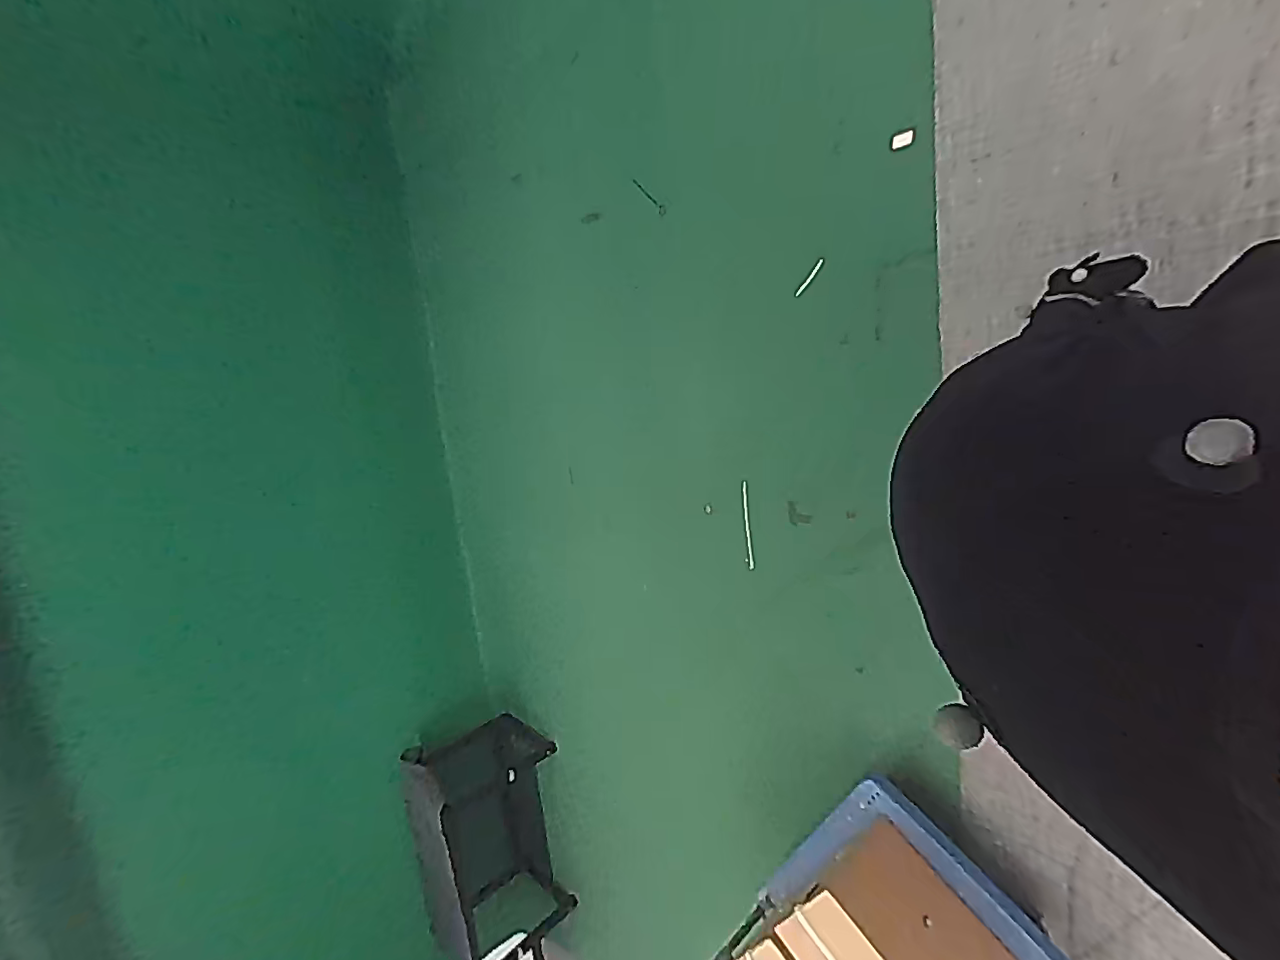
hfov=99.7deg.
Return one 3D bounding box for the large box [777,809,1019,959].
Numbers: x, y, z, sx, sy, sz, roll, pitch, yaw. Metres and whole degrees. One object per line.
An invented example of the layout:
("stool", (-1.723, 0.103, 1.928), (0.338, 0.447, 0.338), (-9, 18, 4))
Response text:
("large box", (0.645, 1.172, 1.388), (0.408, 0.320, 0.320), (44, 131, 31))
